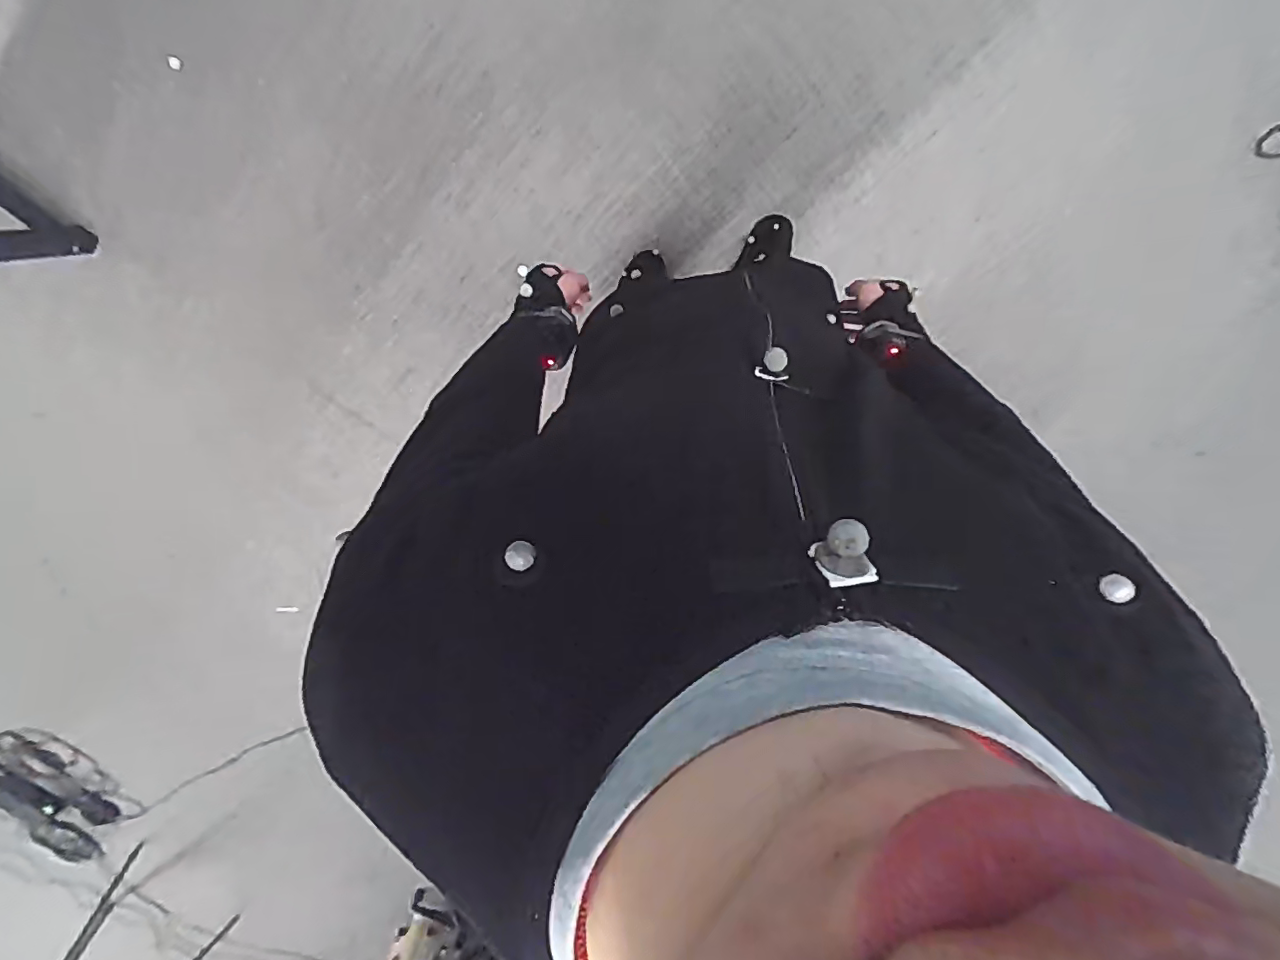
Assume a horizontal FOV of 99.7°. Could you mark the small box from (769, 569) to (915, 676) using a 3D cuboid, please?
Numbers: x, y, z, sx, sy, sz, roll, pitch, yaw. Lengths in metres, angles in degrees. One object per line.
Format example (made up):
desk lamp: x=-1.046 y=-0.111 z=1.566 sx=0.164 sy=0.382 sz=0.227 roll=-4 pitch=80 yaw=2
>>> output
small box: x=0.371 y=0.301 z=1.027 sx=0.179 sy=0.176 sz=0.168 roll=36 pitch=113 yaw=-15

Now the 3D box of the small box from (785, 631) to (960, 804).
small box: x=0.362 y=0.376 z=0.880 sx=0.179 sy=0.176 sz=0.168 roll=37 pitch=113 yaw=-15
